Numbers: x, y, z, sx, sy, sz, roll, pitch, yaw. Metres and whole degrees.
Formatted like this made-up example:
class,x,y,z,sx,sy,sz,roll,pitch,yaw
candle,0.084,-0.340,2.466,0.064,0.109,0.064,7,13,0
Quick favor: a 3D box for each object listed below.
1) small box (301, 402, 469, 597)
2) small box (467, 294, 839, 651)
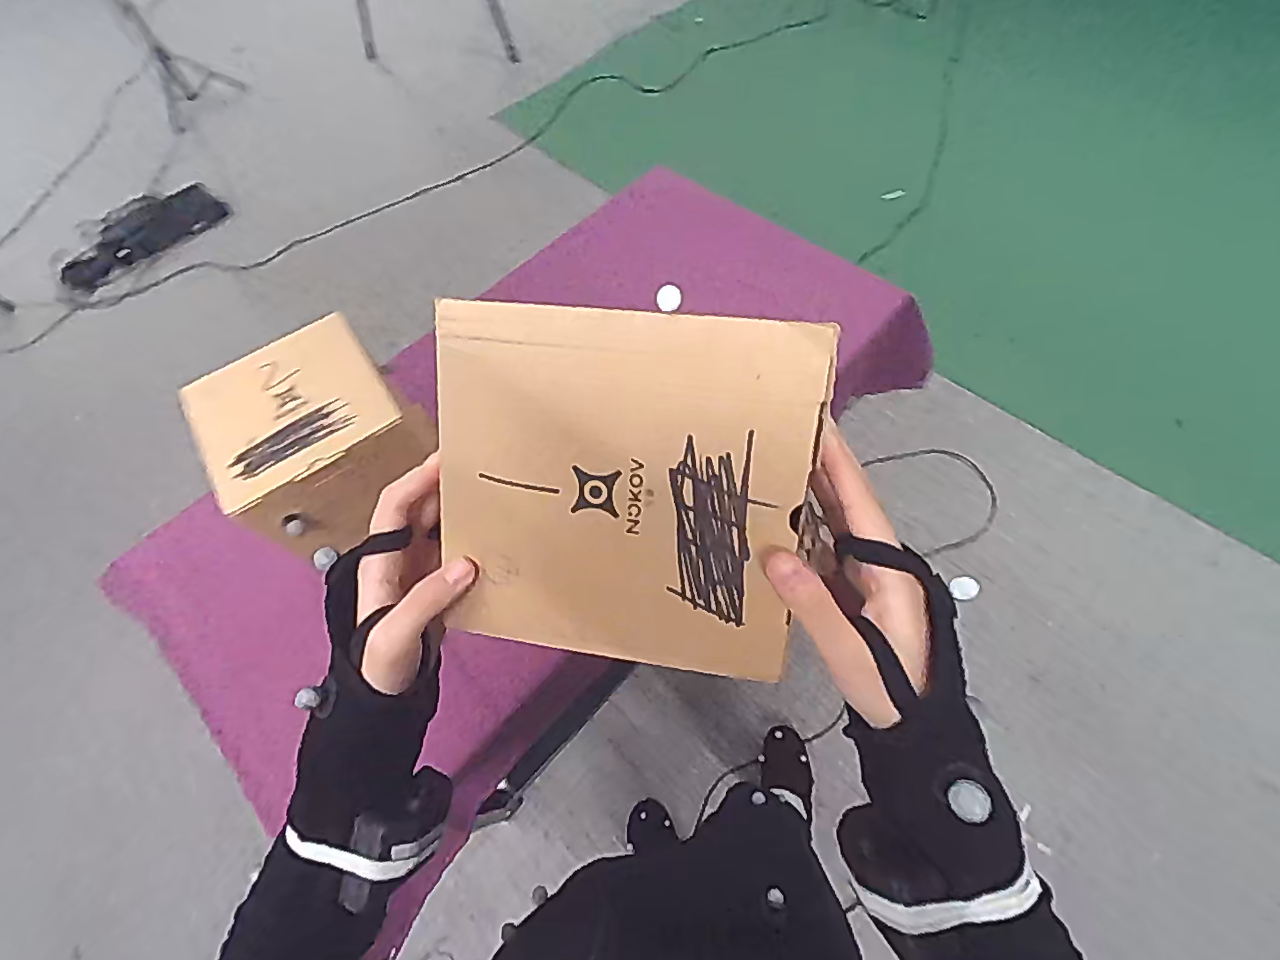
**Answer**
class,x,y,z,sx,sy,sz,roll,pitch,yaw
small box,-0.312,0.034,0.744,0.179,0.176,0.168,-33,65,-13
small box,0.011,-0.021,0.343,0.179,0.176,0.168,8,105,10
